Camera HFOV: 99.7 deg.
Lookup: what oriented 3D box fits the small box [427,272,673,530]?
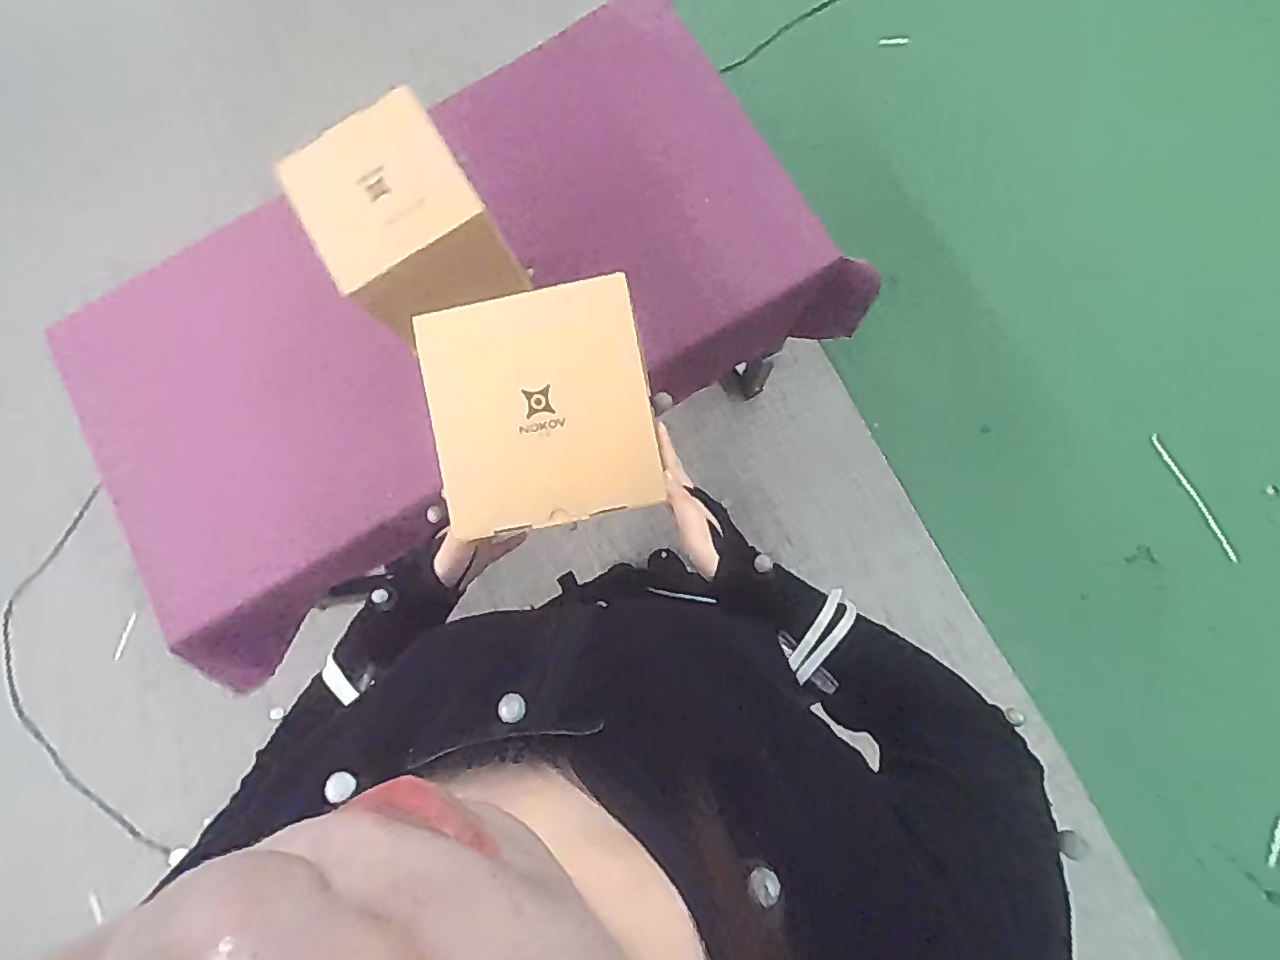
[{"bbox_3d":[-0.067,-0.060,0.489,0.168,0.176,0.179,-10,91,3],"label":"small box"}]

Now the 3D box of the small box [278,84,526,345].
[{"bbox_3d":[-0.260,-0.290,0.629,0.168,0.176,0.179,-31,82,1],"label":"small box"}]
